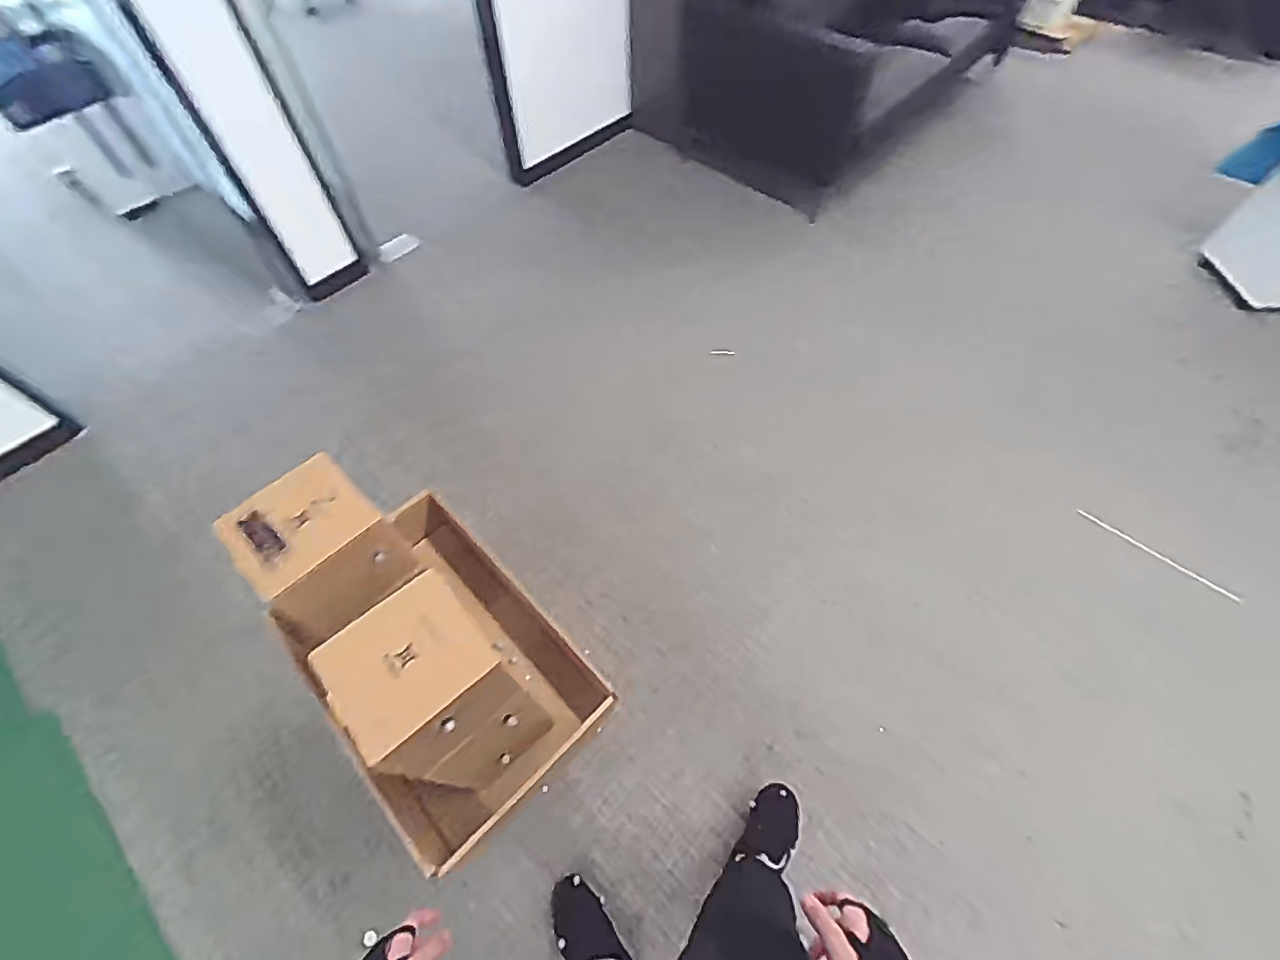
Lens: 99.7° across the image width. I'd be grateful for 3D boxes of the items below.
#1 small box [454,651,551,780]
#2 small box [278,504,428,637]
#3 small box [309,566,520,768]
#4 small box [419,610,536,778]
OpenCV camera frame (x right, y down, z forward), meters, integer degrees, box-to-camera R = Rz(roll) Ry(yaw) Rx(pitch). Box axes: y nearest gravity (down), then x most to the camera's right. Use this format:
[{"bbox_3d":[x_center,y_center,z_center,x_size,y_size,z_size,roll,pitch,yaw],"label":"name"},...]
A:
[{"bbox_3d":[-0.287,0.425,0.998,0.179,0.176,0.168,-39,66,-20],"label":"small box"},{"bbox_3d":[-0.477,0.181,0.955,0.168,0.176,0.179,39,68,21],"label":"small box"},{"bbox_3d":[-0.285,0.254,0.718,0.179,0.176,0.168,-37,66,-20],"label":"small box"},{"bbox_3d":[-0.282,0.339,0.856,0.179,0.176,0.168,-38,64,-20],"label":"small box"}]
